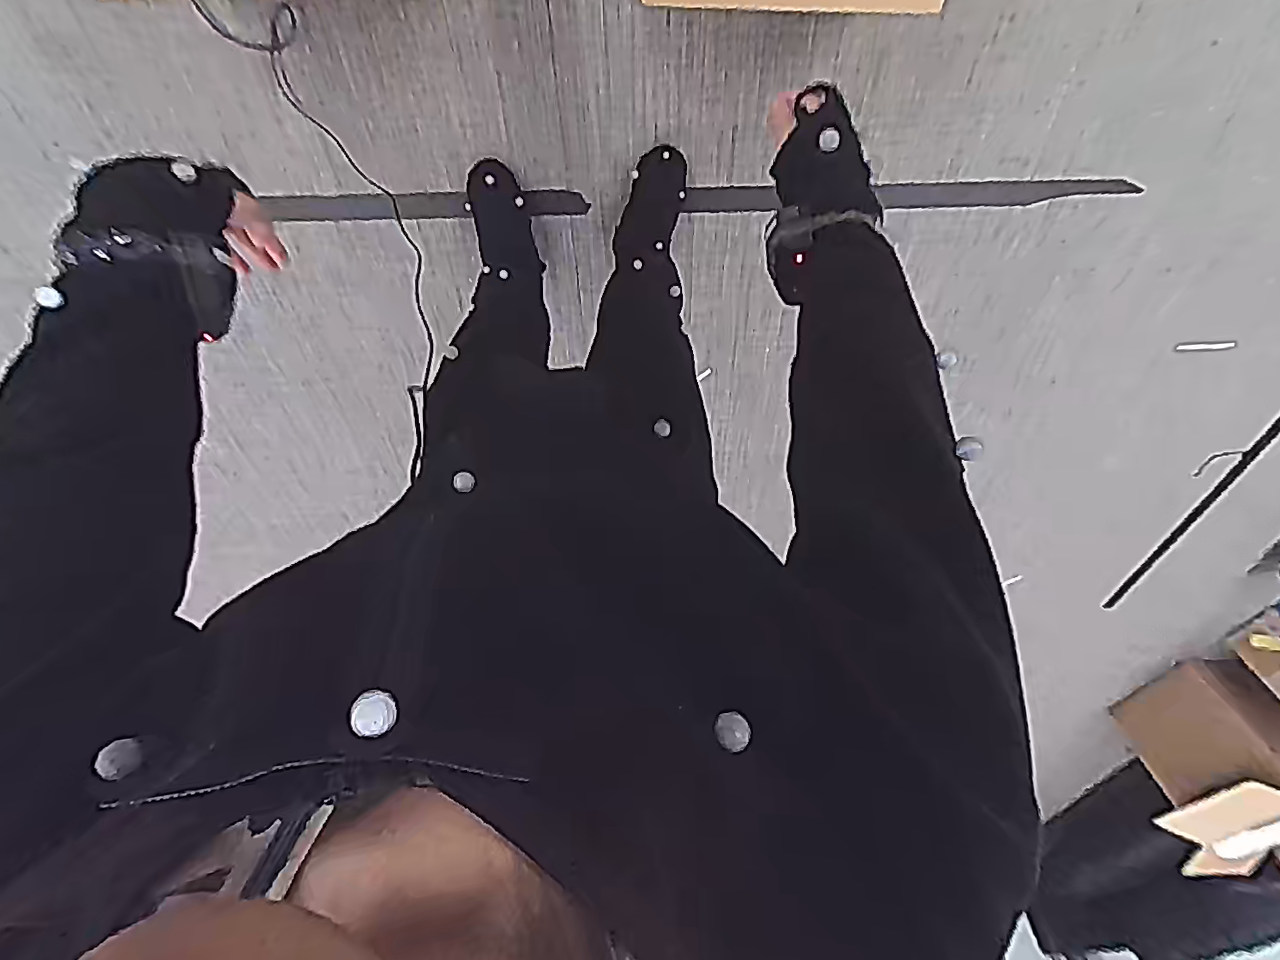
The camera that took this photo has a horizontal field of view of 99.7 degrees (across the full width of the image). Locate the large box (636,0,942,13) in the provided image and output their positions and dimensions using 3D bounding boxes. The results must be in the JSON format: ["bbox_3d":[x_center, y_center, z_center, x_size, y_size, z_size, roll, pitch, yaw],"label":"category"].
[{"bbox_3d":[0.200,-0.840,0.729,0.408,0.320,0.320,-1,132,-4],"label":"large box"}]
